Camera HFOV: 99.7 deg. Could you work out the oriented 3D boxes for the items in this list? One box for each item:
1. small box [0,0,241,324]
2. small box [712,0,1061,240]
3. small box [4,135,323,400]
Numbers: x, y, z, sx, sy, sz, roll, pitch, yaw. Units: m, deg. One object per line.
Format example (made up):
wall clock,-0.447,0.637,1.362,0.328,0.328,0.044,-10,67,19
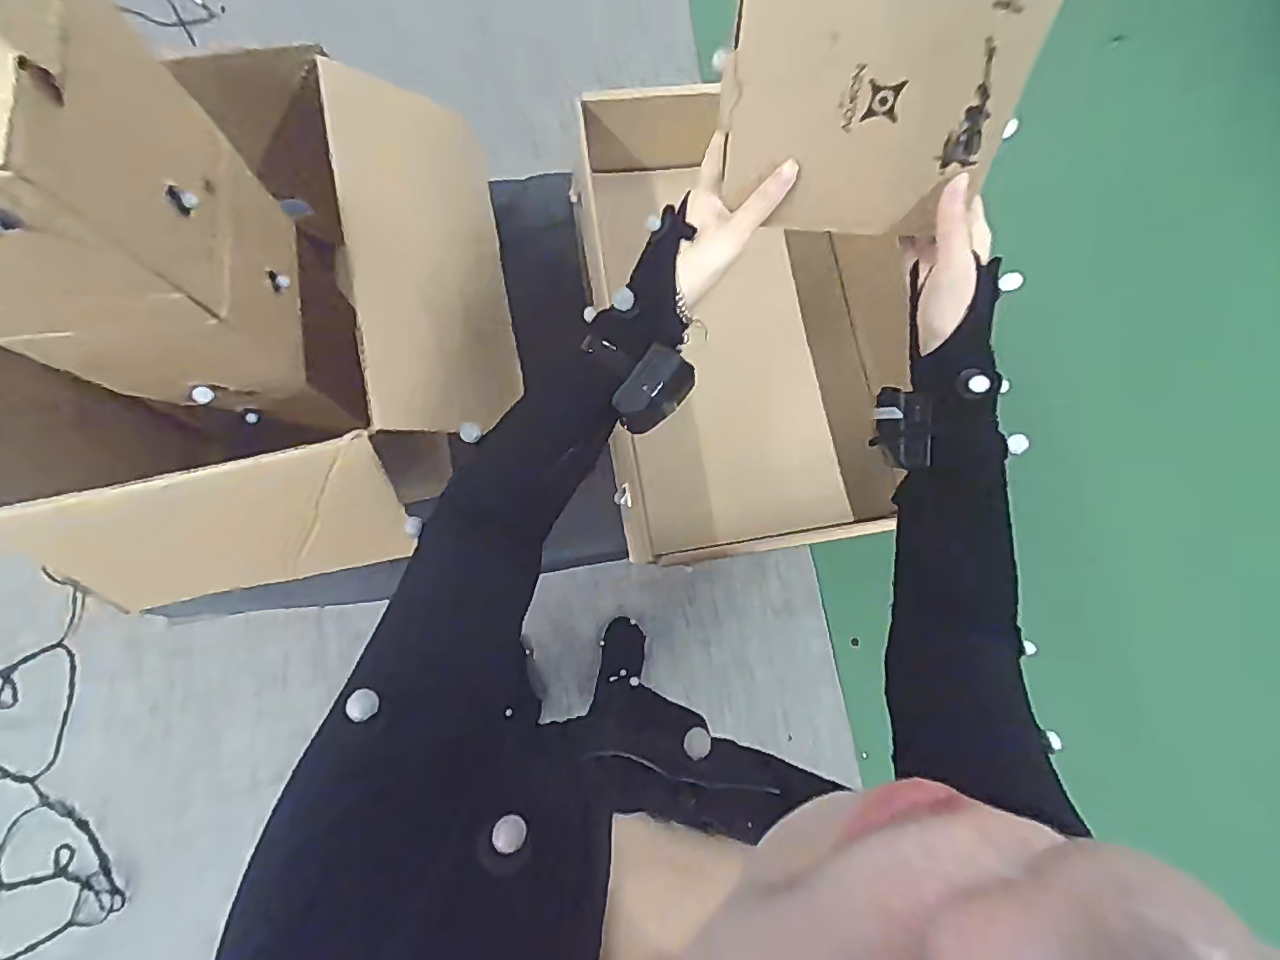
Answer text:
small box,-0.411,-0.217,0.359,0.179,0.176,0.168,-6,80,-8
small box,0.155,-0.298,0.388,0.179,0.168,0.176,8,50,5
small box,-0.428,-0.190,0.517,0.168,0.176,0.179,-6,82,-8
